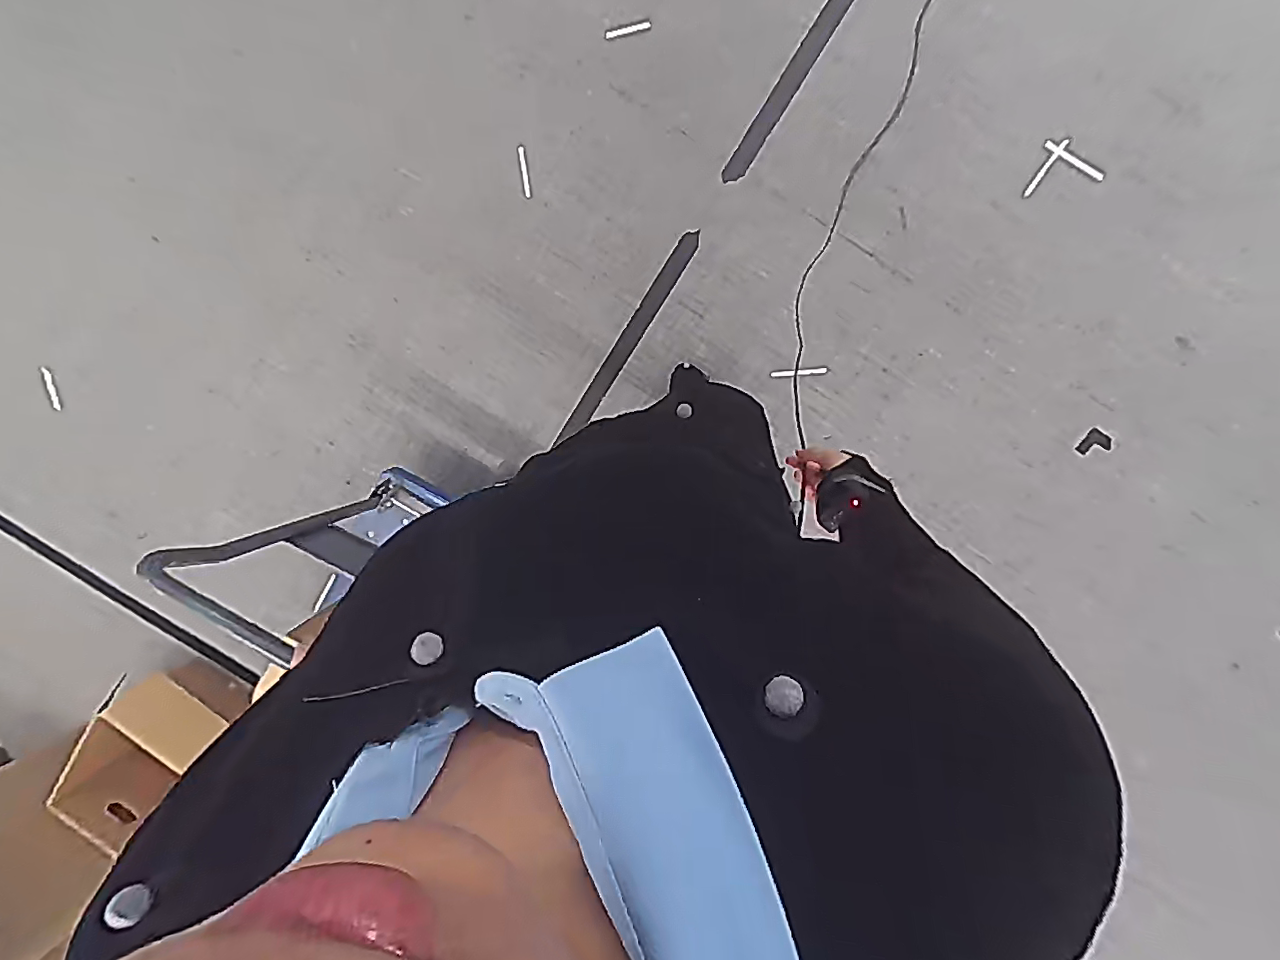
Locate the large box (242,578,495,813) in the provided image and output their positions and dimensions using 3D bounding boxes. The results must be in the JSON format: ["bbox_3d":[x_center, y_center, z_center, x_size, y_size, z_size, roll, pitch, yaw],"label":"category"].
[{"bbox_3d":[-0.644,0.507,1.338,0.408,0.320,0.320,31,103,-2],"label":"large box"}]
